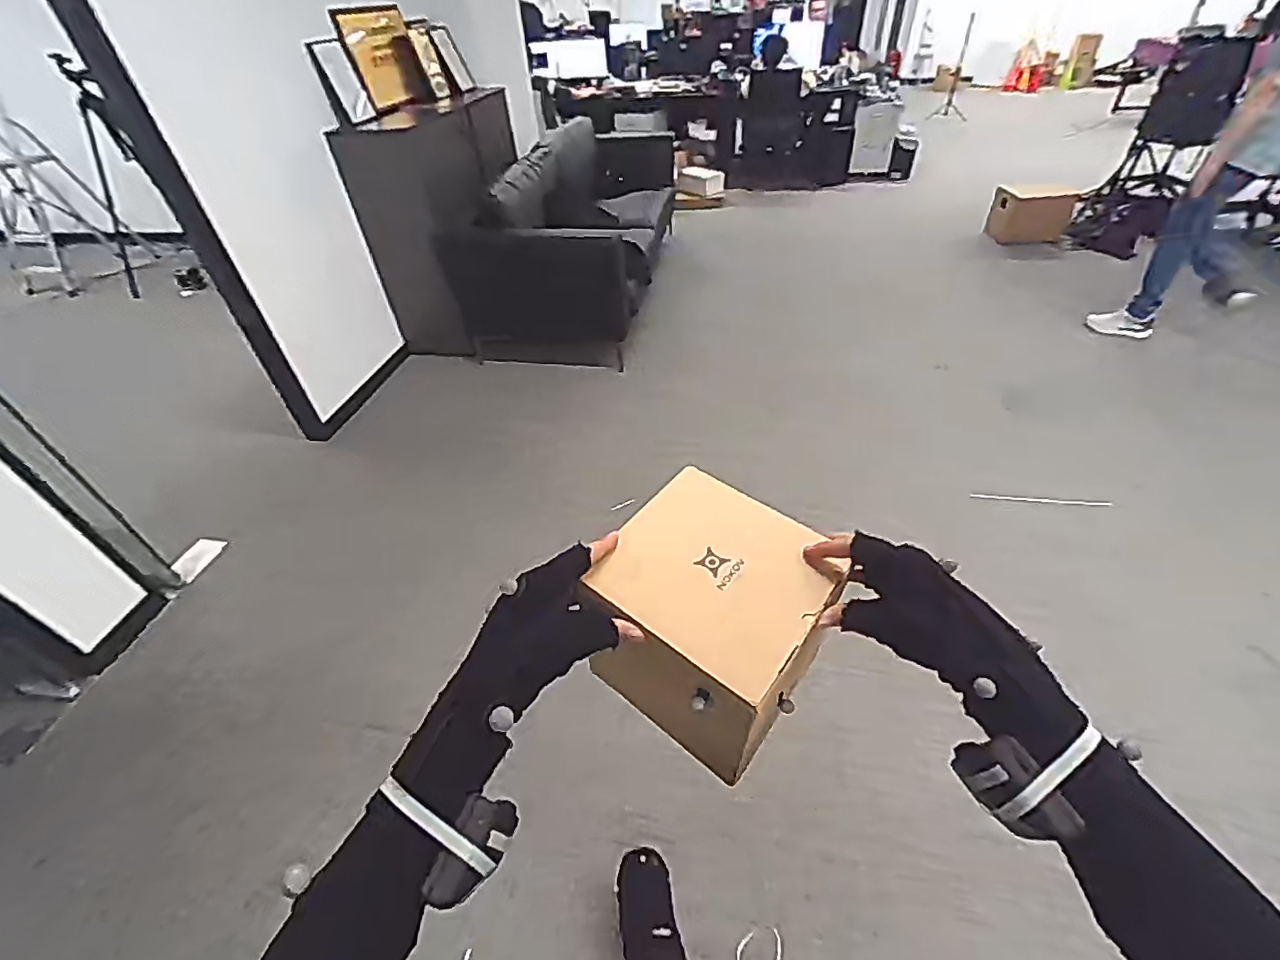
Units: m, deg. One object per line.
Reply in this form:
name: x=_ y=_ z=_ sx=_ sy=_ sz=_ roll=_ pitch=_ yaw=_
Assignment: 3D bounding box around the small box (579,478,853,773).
small box: x=0.064 y=0.135 z=0.510 sx=0.179 sy=0.176 sz=0.168 roll=31 pitch=52 yaw=27
